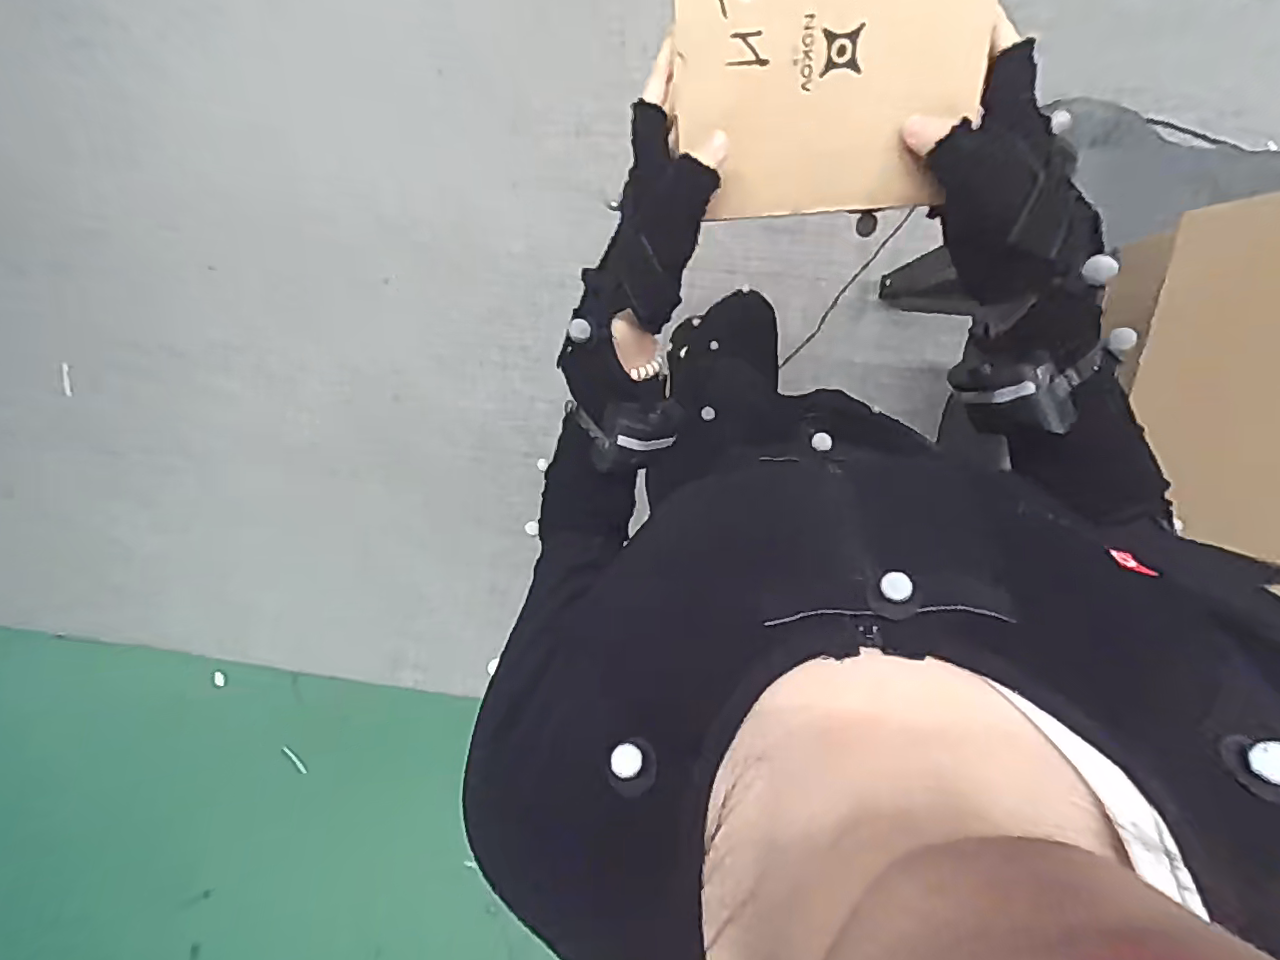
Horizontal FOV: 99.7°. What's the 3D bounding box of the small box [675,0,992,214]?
[{"bbox_3d":[0.116,-0.284,0.383,0.179,0.176,0.168,1,116,7],"label":"small box"}]
